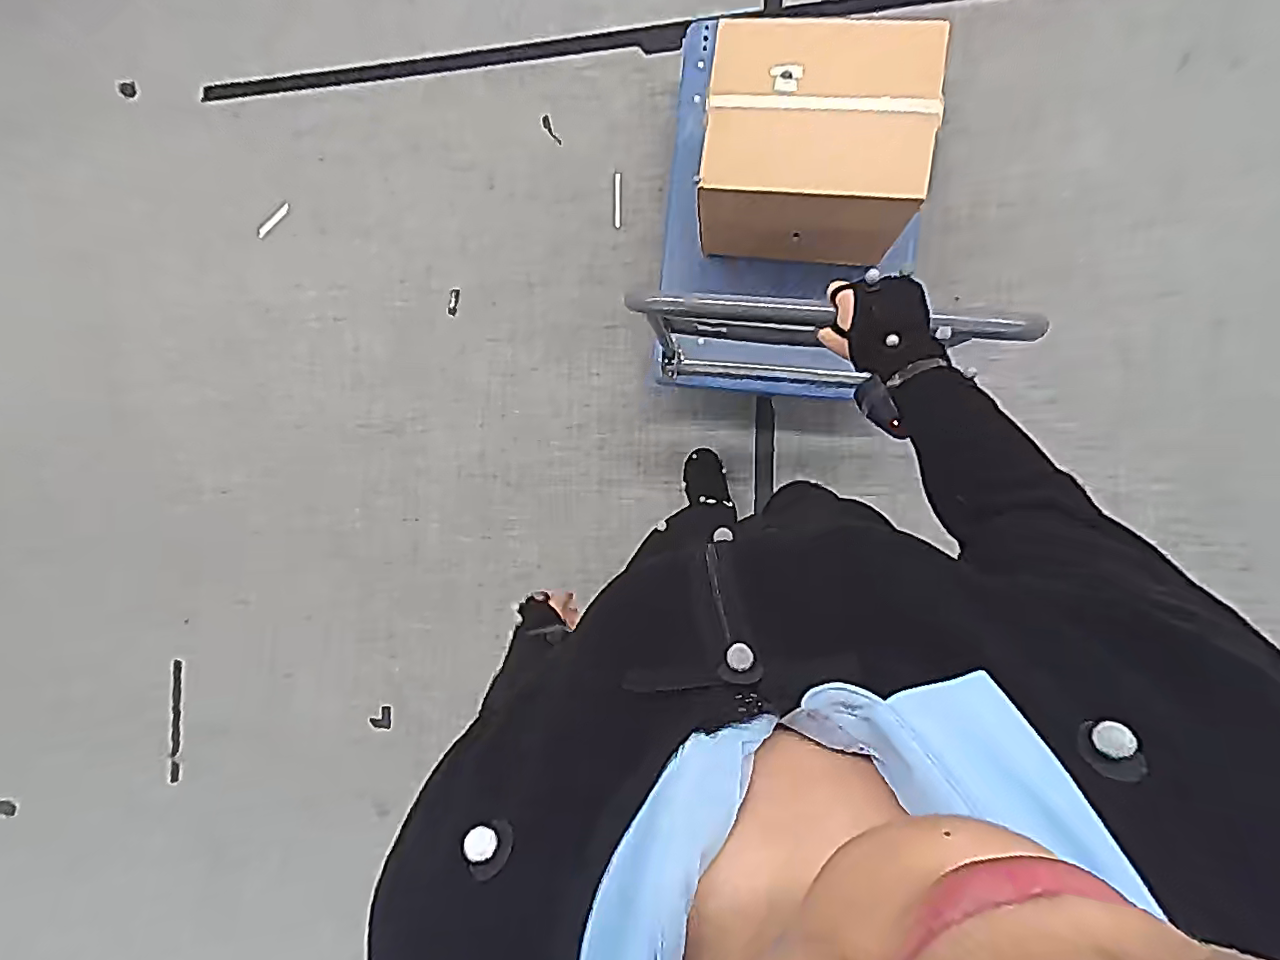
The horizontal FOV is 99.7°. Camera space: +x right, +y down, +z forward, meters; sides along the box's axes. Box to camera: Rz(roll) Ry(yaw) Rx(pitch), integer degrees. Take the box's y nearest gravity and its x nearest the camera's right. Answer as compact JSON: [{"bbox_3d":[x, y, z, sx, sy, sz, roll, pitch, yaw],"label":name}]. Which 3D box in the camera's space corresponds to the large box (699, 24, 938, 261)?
[{"bbox_3d":[0.347,-0.675,1.138,0.408,0.320,0.320,6,90,9],"label":"large box"}]
